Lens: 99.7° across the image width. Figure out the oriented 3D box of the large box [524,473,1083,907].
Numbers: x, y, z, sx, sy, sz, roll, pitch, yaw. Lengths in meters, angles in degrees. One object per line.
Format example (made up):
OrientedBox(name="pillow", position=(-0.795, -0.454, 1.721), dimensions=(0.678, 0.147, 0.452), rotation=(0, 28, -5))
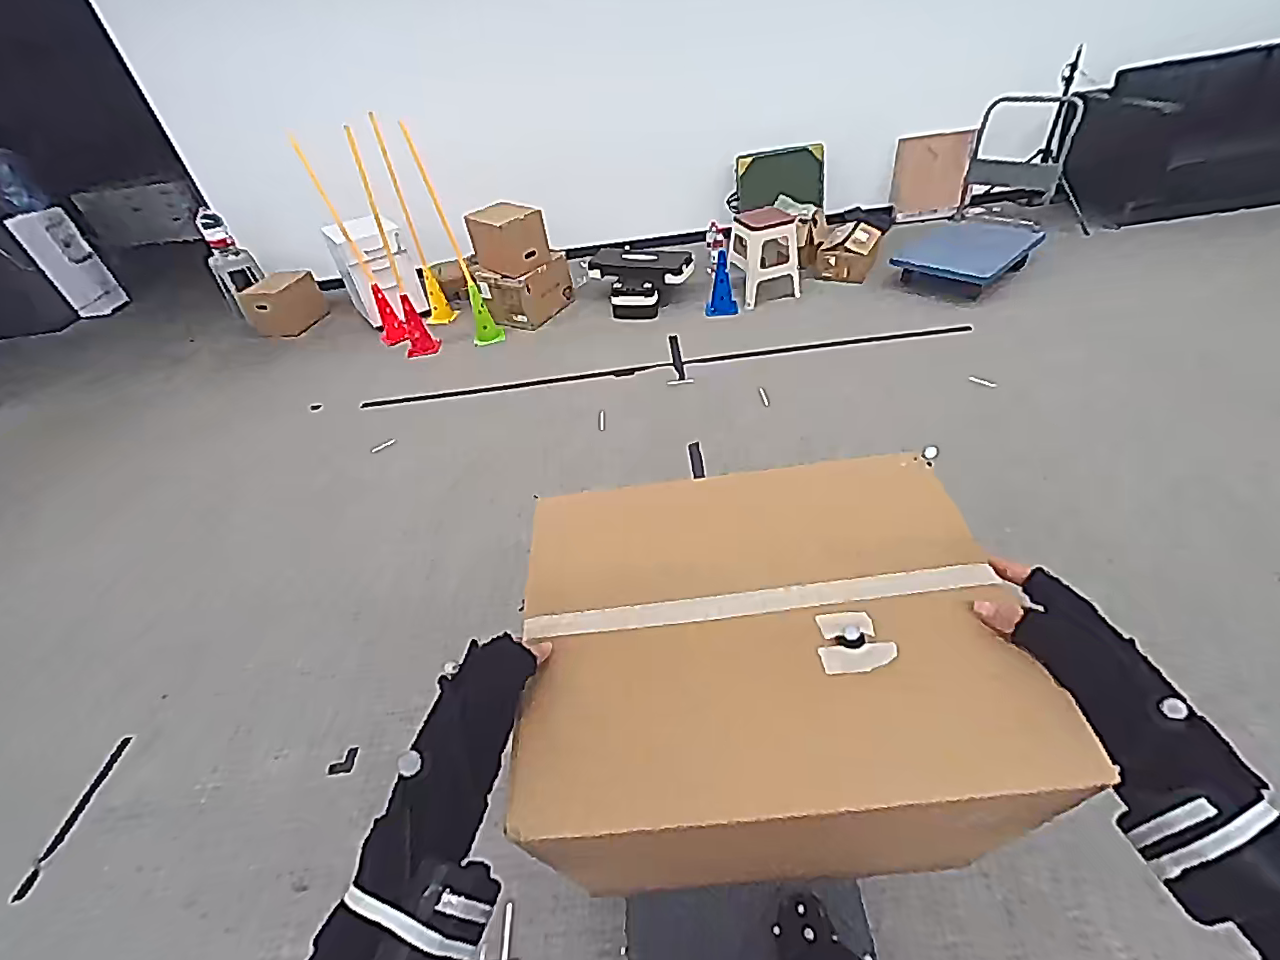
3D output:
OrientedBox(name="large box", position=(0.117, 0.228, 0.586), dimensions=(0.408, 0.320, 0.320), rotation=(-7, 45, 2))
